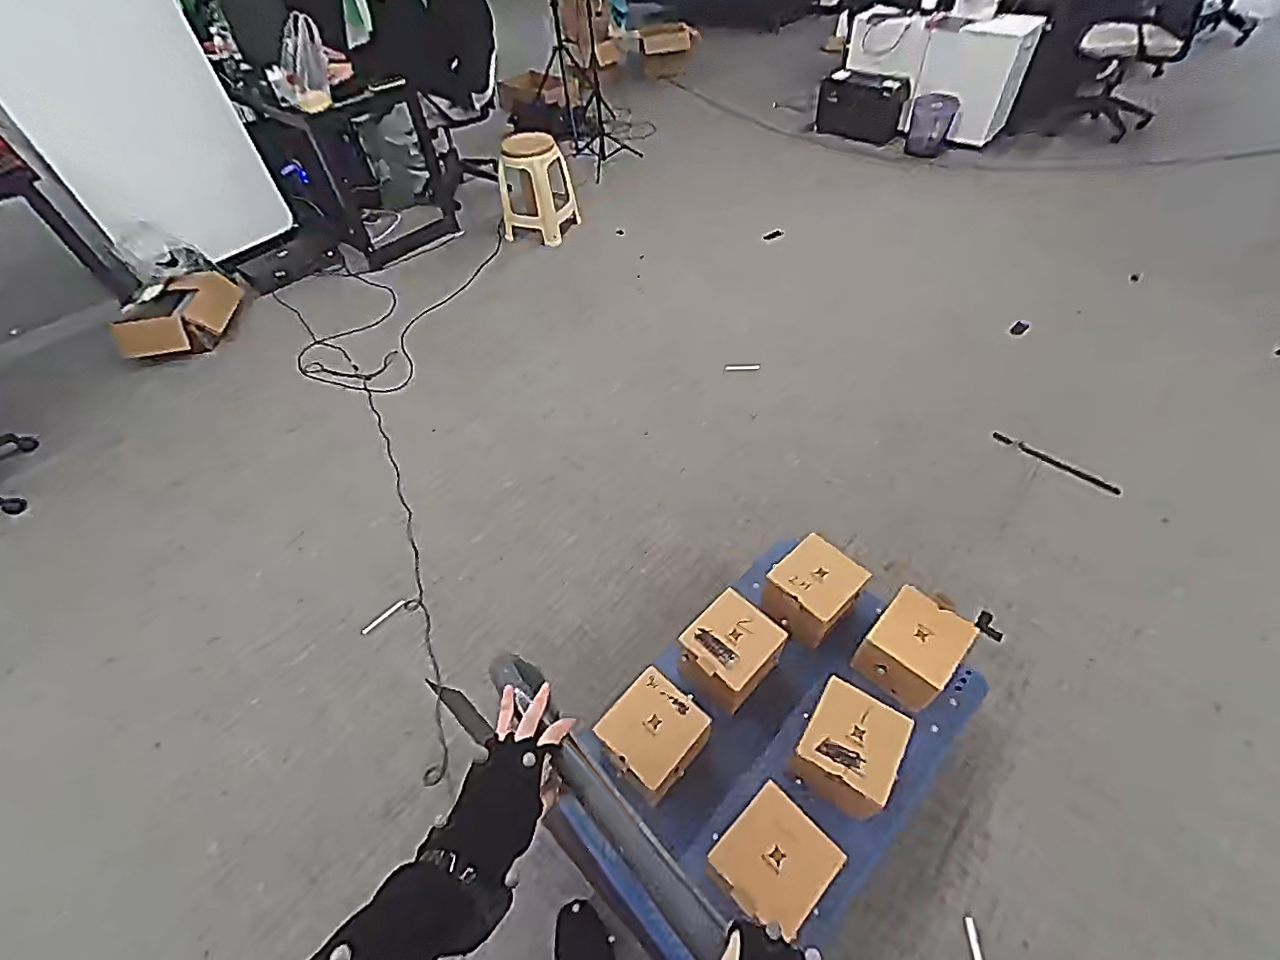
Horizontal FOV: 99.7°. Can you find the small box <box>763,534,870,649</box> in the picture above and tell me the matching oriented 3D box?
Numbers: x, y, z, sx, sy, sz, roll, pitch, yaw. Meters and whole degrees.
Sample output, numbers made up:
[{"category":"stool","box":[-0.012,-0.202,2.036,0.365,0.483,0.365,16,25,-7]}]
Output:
[{"category":"small box","box":[0.416,0.270,1.304,0.179,0.176,0.168,-36,56,-22]}]

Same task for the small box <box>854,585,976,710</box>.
[{"category":"small box","box":[0.600,0.377,1.204,0.168,0.176,0.179,36,61,29]}]

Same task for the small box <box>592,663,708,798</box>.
[{"category":"small box","box":[0.026,0.525,1.126,0.168,0.176,0.179,36,62,27]}]

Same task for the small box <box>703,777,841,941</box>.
[{"category":"small box","box":[0.231,0.687,0.982,0.179,0.176,0.168,-36,58,-23]}]

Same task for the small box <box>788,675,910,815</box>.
[{"category":"small box","box":[0.411,0.536,1.089,0.168,0.176,0.179,27,56,24]}]
